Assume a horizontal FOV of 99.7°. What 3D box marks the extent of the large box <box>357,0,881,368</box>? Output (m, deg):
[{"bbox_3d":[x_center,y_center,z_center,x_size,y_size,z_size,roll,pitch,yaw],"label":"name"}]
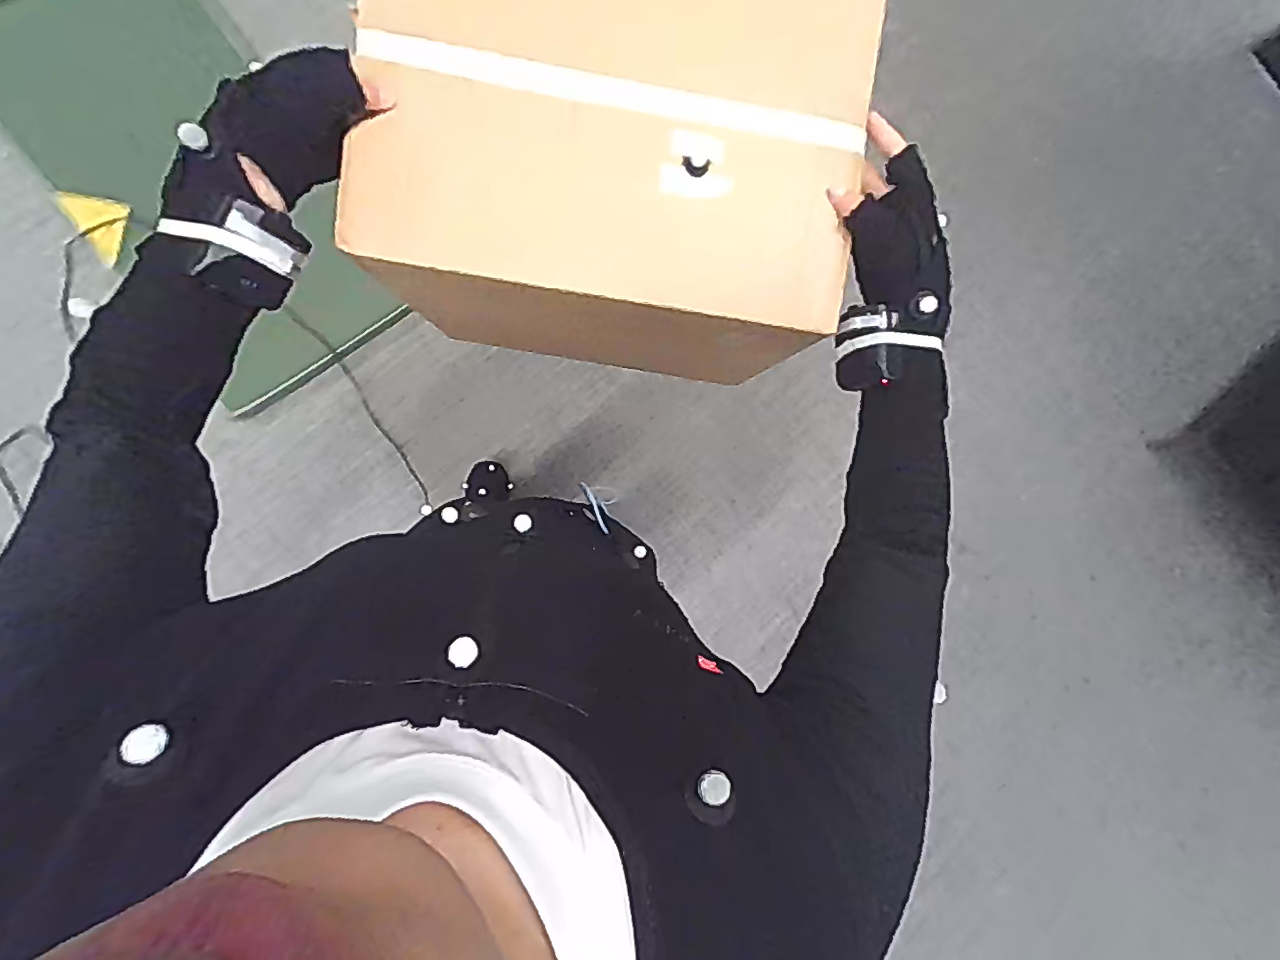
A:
[{"bbox_3d":[-0.024,-0.320,0.581,0.408,0.320,0.320,7,92,-6],"label":"large box"}]
